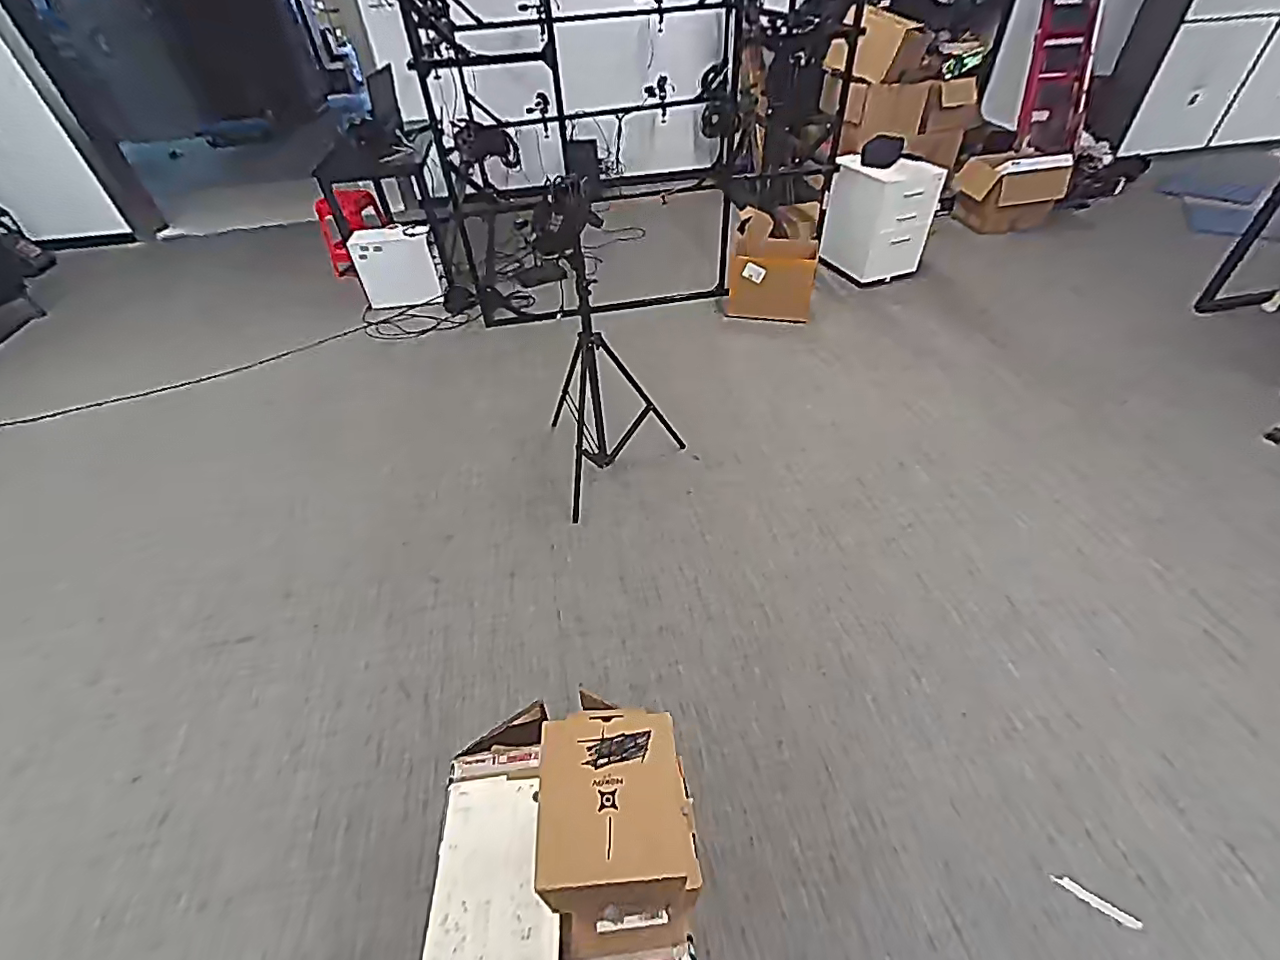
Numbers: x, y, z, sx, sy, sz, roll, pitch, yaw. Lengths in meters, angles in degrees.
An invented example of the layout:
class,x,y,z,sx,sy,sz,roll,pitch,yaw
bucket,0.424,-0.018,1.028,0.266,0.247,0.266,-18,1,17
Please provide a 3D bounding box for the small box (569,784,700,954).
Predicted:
class,x,y,z,sx,sy,sz,roll,pitch,yaw
small box,-0.019,0.568,0.791,0.179,0.176,0.168,-6,45,-5

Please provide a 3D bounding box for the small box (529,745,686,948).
class,x,y,z,sx,sy,sz,roll,pitch,yaw
small box,-0.039,0.454,0.672,0.168,0.176,0.179,-3,46,-3
